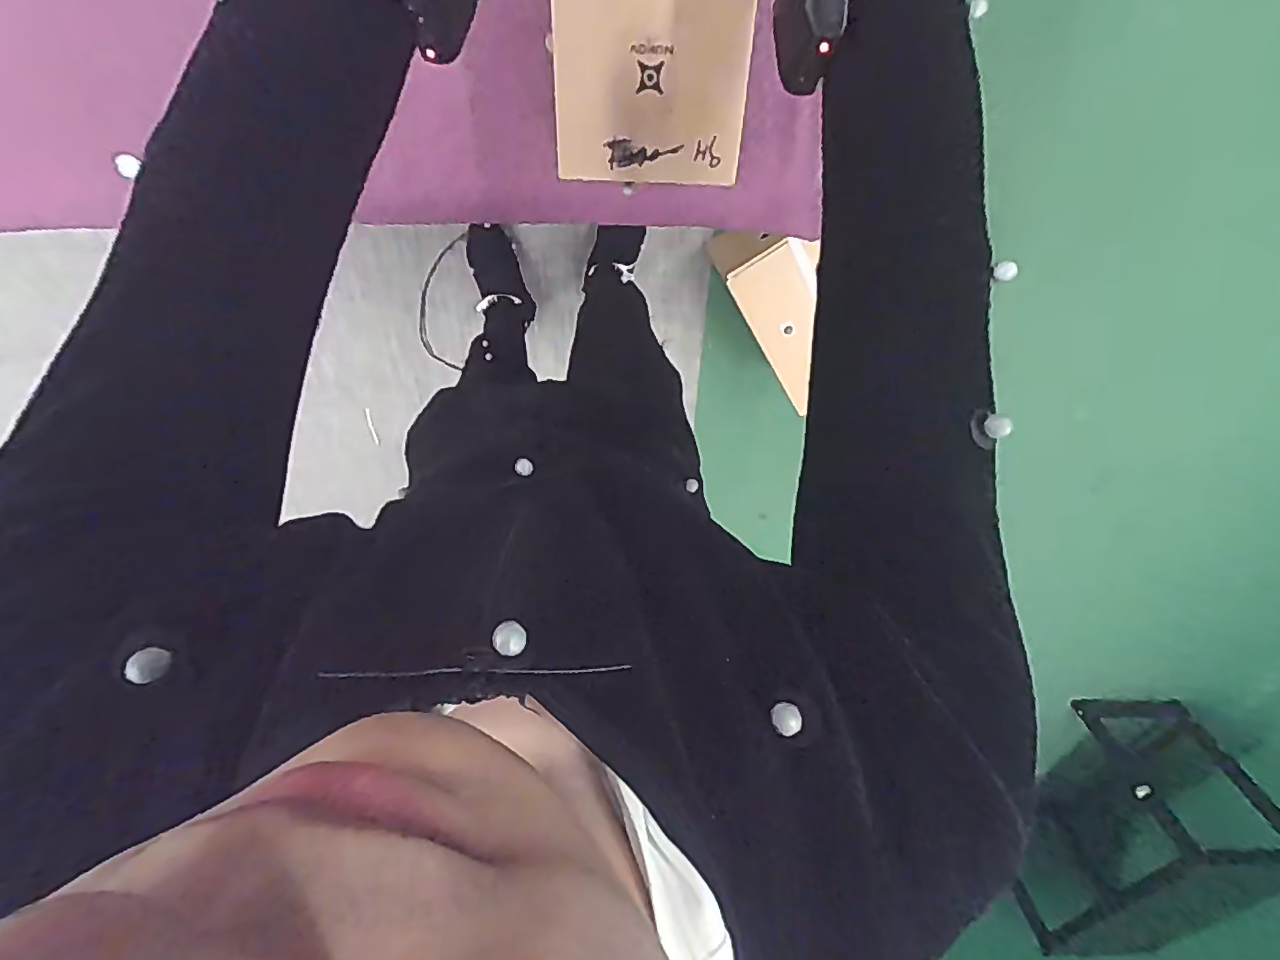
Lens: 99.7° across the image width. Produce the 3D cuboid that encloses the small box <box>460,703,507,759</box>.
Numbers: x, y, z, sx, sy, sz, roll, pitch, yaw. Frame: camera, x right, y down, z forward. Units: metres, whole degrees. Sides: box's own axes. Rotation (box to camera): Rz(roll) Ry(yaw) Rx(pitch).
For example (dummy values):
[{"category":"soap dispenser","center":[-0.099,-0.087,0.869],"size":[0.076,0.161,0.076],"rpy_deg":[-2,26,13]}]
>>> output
[{"category":"small box","center":[-0.692,1.128,2.411],"size":[0.168,0.176,0.179],"rpy_deg":[6,124,-3]}]

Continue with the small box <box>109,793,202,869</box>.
[{"category":"small box","center":[-1.719,1.251,1.929],"size":[0.179,0.176,0.168],"rpy_deg":[-39,118,23]}]

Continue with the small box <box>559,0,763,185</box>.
[{"category":"small box","center":[0.012,-0.391,0.517],"size":[0.168,0.176,0.179],"rpy_deg":[2,123,-2]}]
